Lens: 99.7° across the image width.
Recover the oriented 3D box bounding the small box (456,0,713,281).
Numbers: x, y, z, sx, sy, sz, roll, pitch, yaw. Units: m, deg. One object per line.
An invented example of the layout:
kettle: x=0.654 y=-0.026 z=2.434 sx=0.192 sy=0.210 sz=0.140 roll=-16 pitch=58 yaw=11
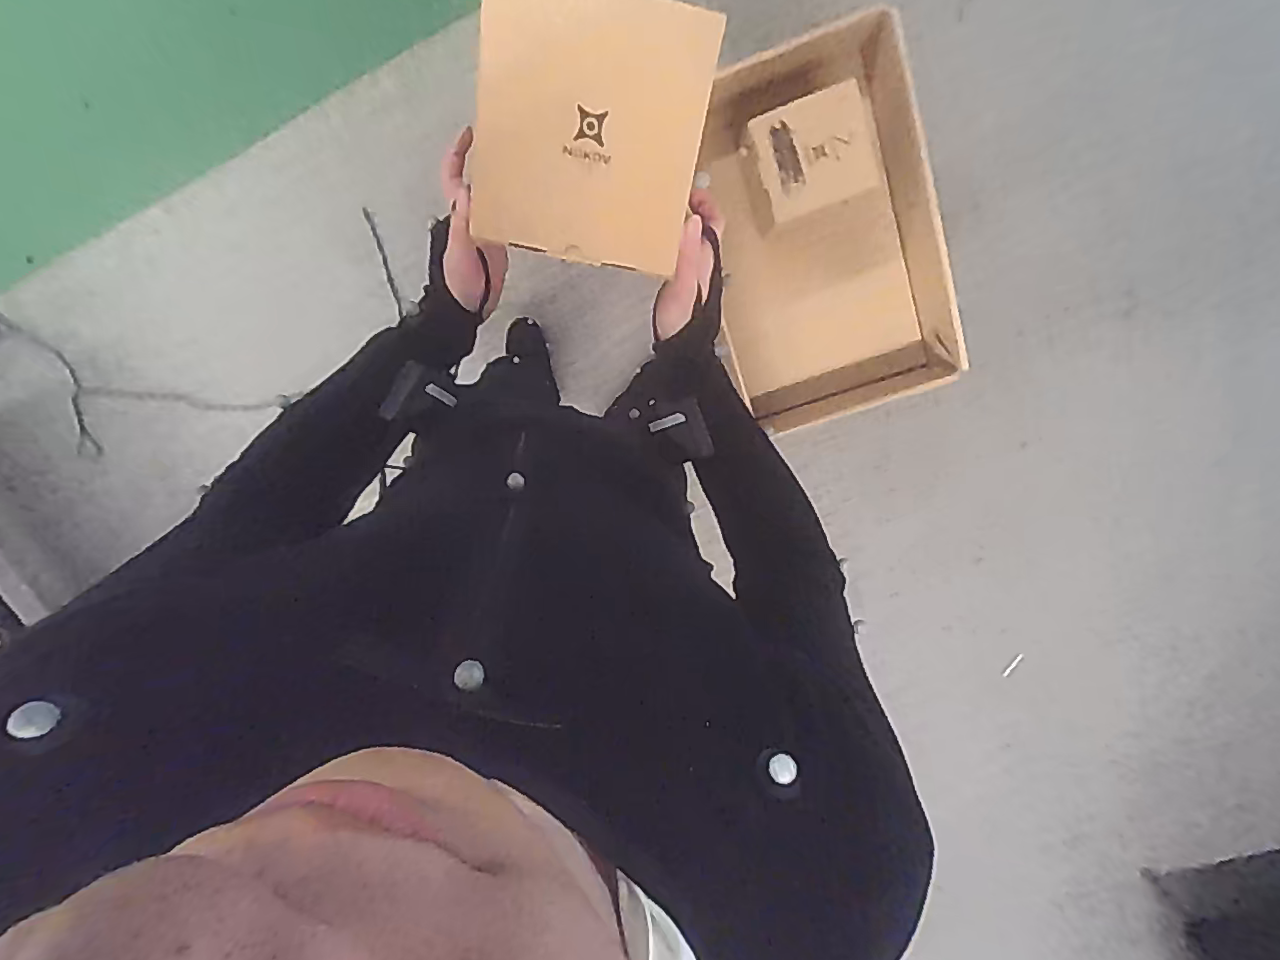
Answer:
small box: x=-0.049 y=-0.282 z=0.459 sx=0.168 sy=0.176 sz=0.179 roll=8 pitch=115 yaw=-6
